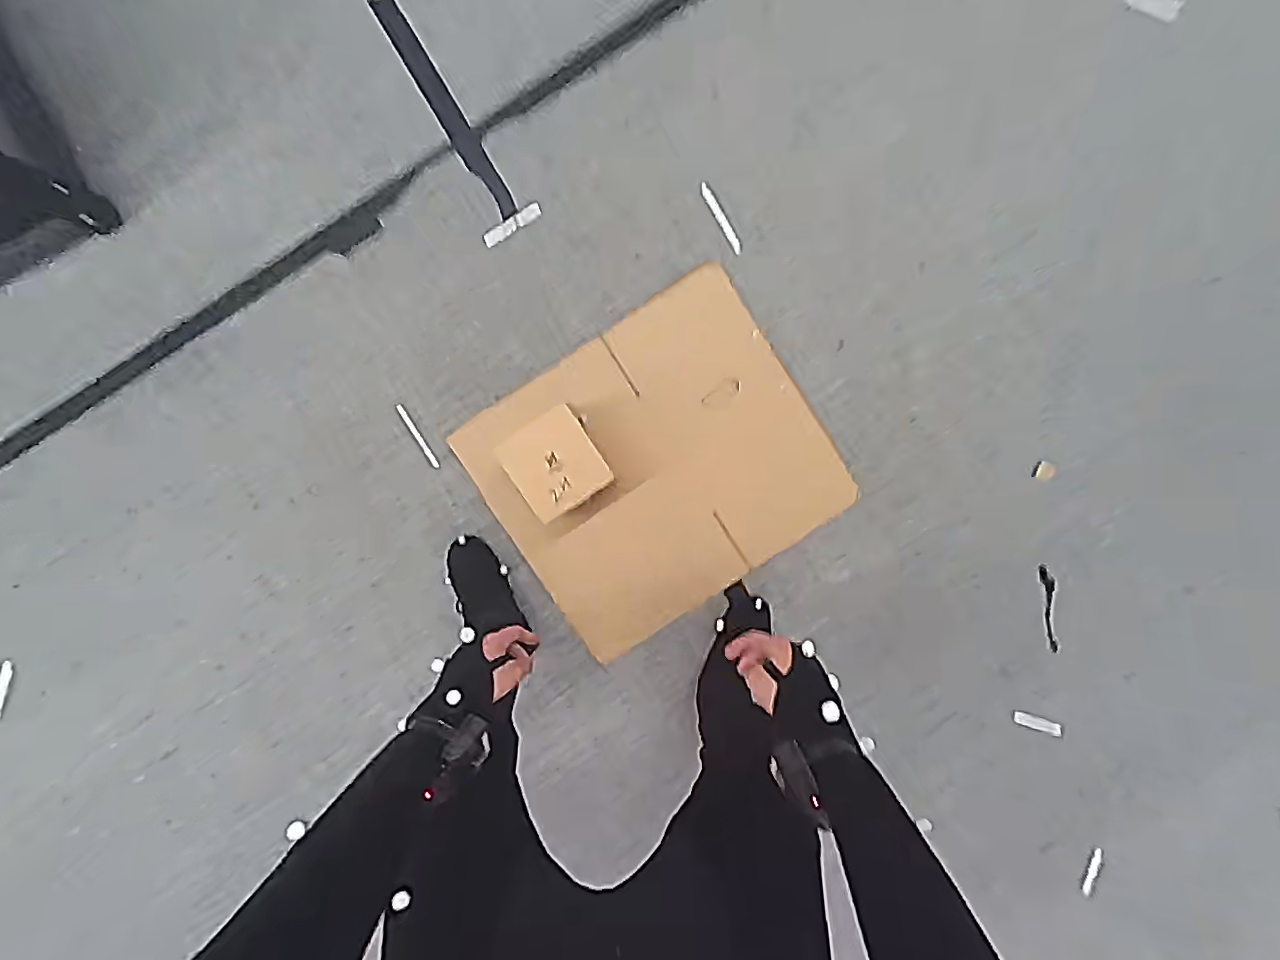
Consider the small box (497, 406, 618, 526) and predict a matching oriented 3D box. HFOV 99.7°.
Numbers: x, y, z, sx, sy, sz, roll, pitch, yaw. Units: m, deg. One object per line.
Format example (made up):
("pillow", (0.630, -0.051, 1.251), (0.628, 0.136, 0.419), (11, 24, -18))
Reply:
("small box", (-0.157, -0.029, 1.092), (0.168, 0.176, 0.179), (-33, 94, 2))
